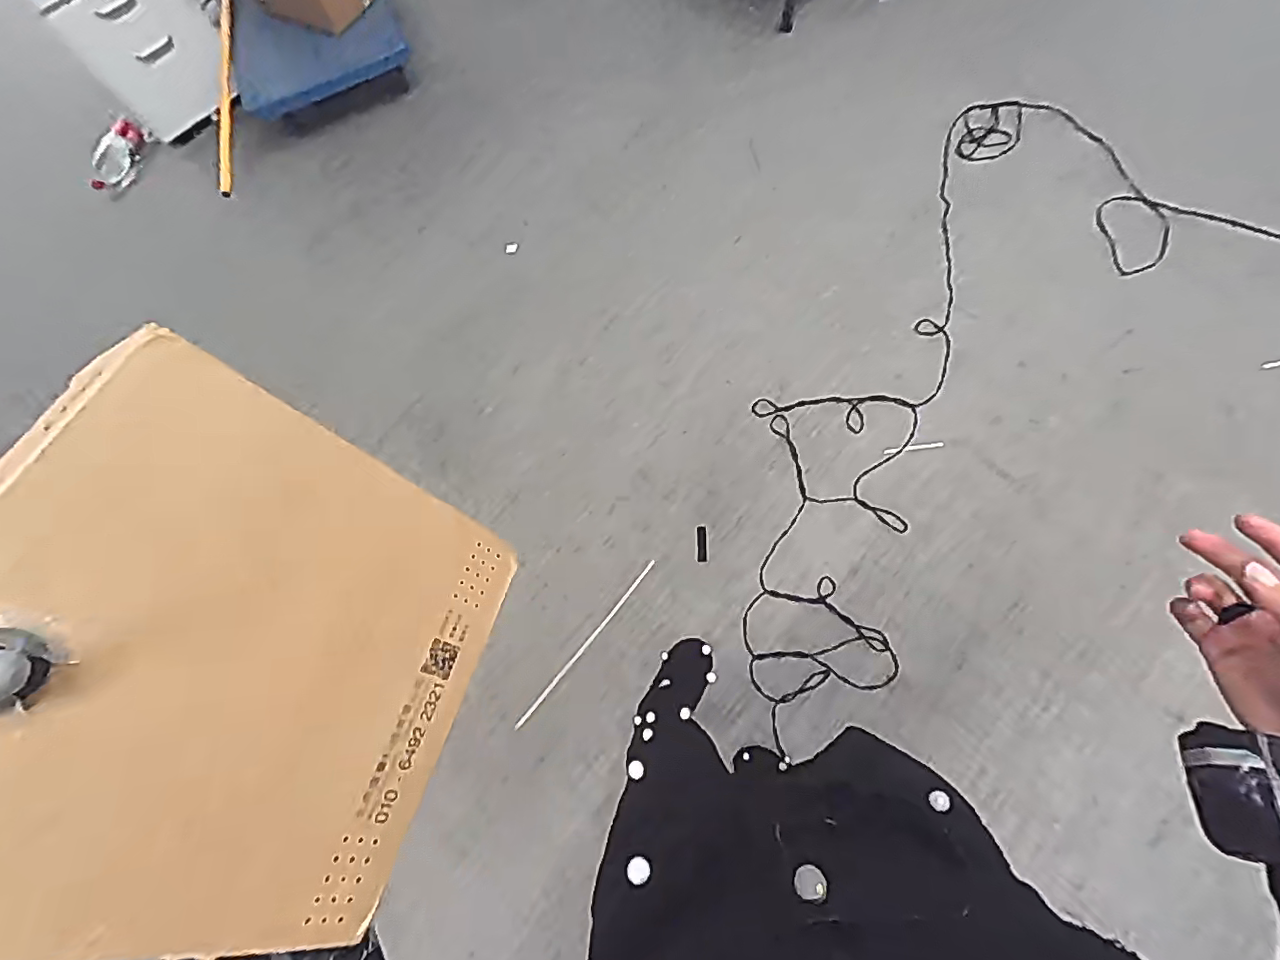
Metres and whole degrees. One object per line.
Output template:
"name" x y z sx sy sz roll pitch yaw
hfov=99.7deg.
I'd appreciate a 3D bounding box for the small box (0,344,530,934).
"small box" -0.185 0.071 0.241 0.179 0.176 0.168 -3 58 38
